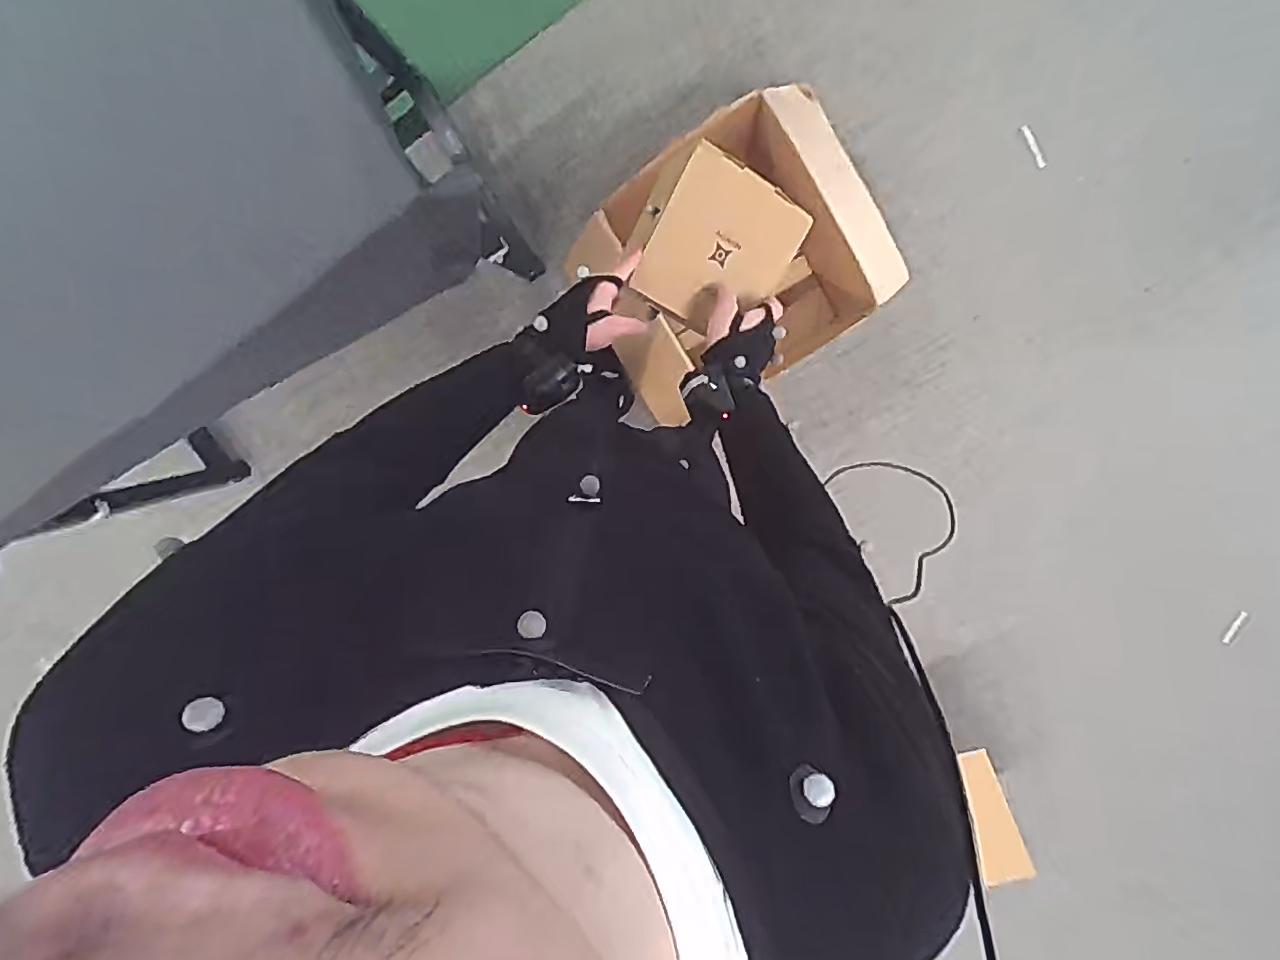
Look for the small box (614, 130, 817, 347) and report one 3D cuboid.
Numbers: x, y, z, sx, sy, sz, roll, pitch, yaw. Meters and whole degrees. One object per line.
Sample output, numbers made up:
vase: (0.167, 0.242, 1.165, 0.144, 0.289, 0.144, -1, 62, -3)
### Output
small box: (0.080, -0.295, 0.687, 0.168, 0.176, 0.179, 24, 105, -20)
